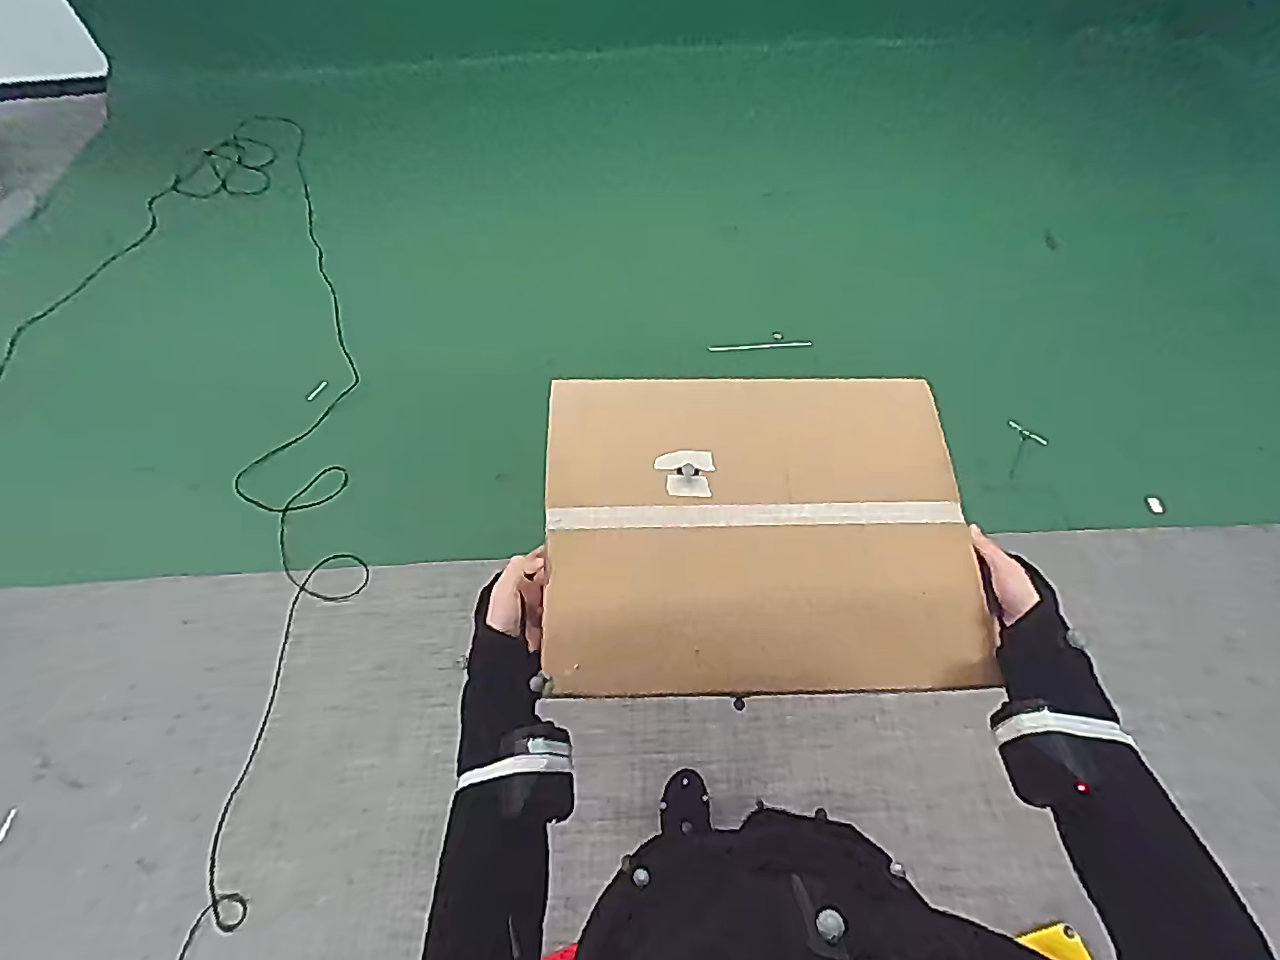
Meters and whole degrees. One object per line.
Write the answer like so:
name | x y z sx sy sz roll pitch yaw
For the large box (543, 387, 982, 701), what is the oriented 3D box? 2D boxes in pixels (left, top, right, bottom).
large box | 0.107 0.099 0.672 0.408 0.320 0.320 -1 68 -1
